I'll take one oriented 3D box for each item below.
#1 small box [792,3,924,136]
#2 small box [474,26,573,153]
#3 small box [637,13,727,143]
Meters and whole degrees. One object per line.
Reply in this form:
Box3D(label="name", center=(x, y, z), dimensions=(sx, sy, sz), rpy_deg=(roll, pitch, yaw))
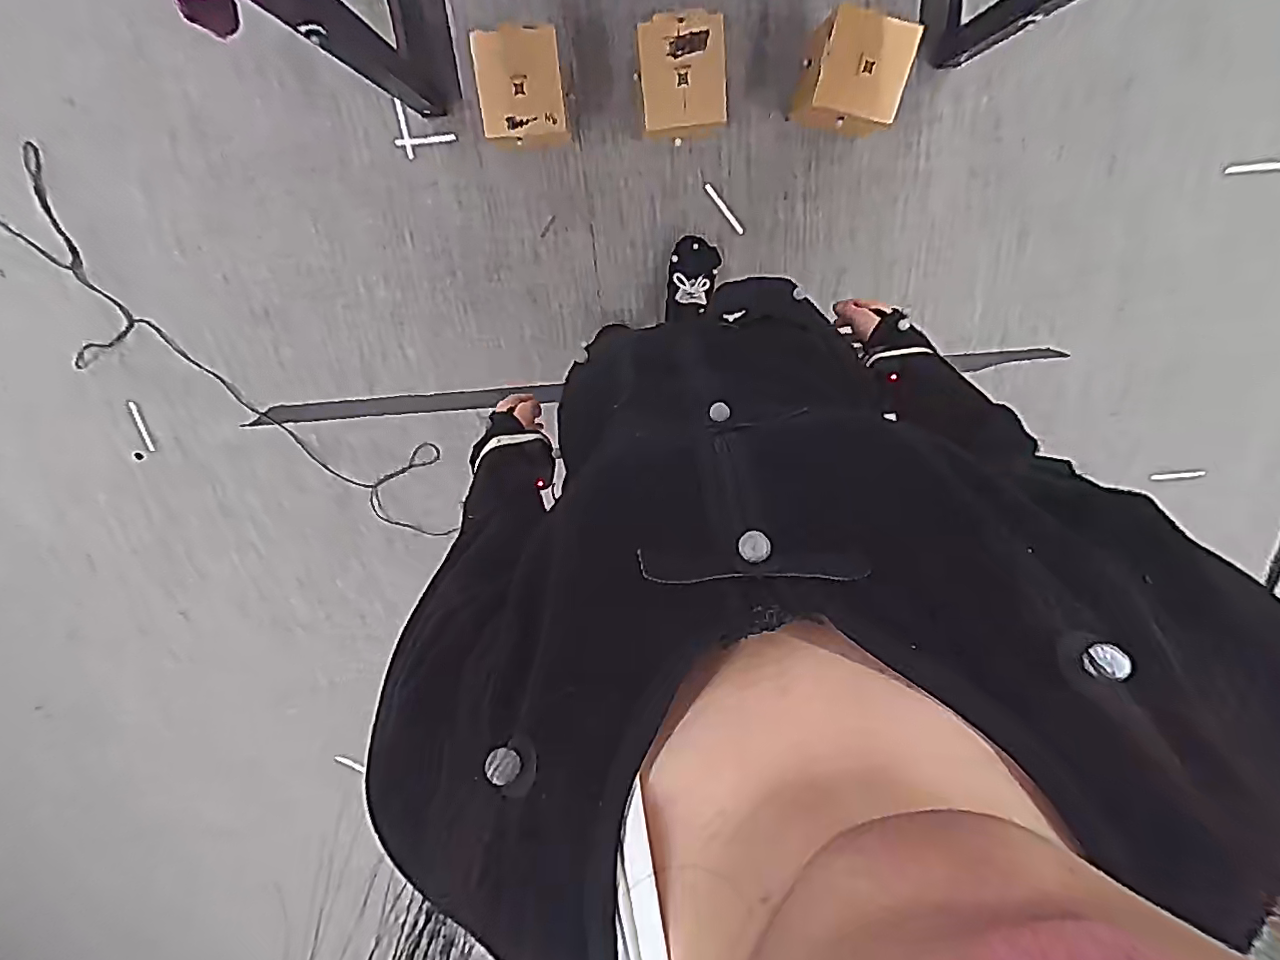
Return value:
Box3D(label="small box", center=(0.440, -0.837, 1.123), dimensions=(0.179, 0.176, 0.168), rpy_deg=(11, 113, -5))
Box3D(label="small box", center=(-0.233, -0.799, 1.120), dimensions=(0.168, 0.176, 0.179), rpy_deg=(-3, 111, 0))
Box3D(label="small box", center=(0.083, -0.819, 1.119), dimensions=(0.168, 0.176, 0.179), rpy_deg=(-6, 114, 1))
